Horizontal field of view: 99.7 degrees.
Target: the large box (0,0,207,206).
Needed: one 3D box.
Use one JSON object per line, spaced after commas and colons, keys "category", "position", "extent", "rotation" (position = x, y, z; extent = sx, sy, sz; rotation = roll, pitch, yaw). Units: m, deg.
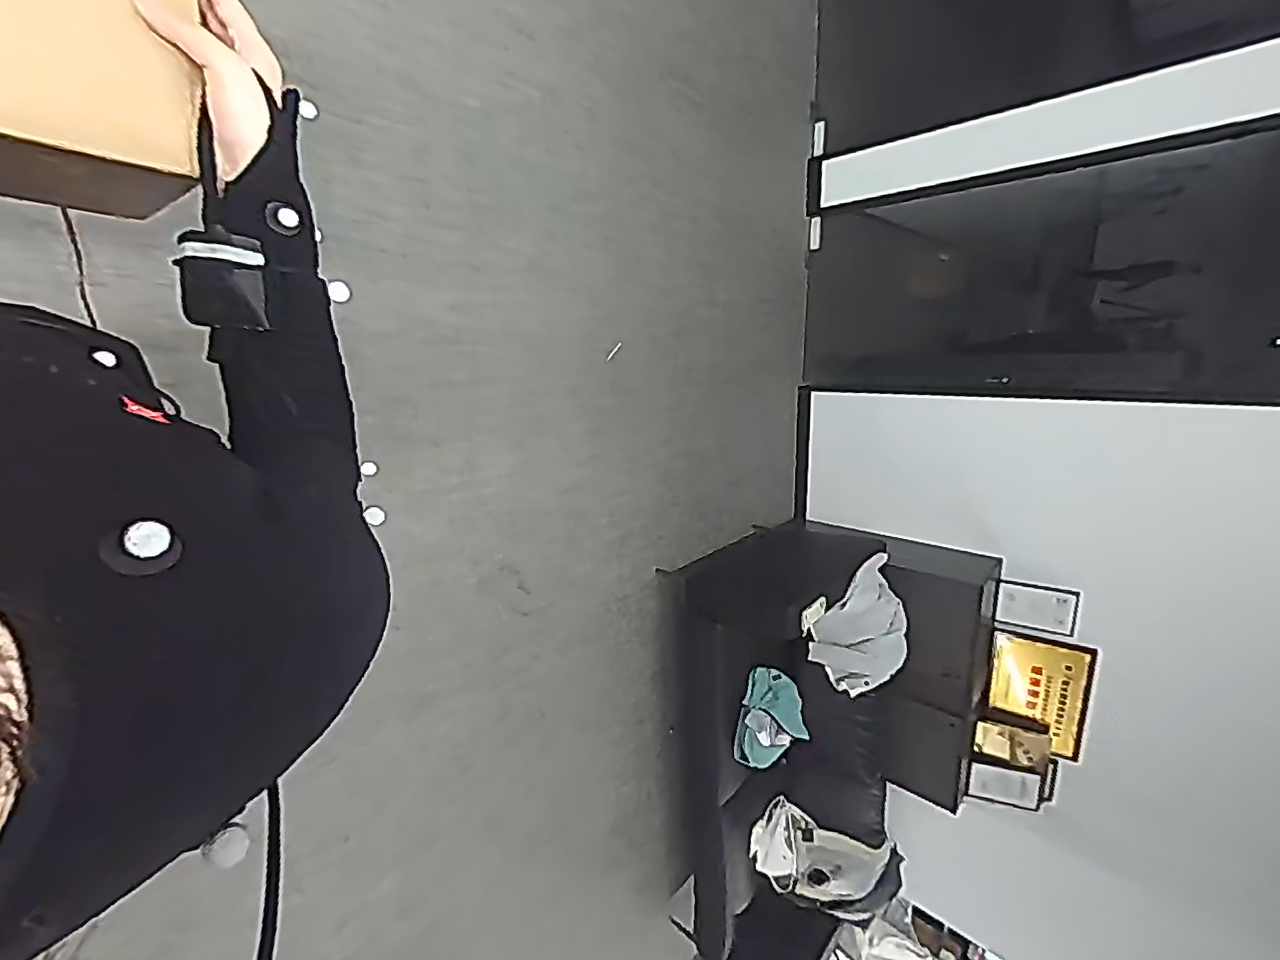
{"category": "large box", "position": [-0.542, -0.374, 0.296], "extent": [0.408, 0.320, 0.320], "rotation": [-11, 112, -48]}
